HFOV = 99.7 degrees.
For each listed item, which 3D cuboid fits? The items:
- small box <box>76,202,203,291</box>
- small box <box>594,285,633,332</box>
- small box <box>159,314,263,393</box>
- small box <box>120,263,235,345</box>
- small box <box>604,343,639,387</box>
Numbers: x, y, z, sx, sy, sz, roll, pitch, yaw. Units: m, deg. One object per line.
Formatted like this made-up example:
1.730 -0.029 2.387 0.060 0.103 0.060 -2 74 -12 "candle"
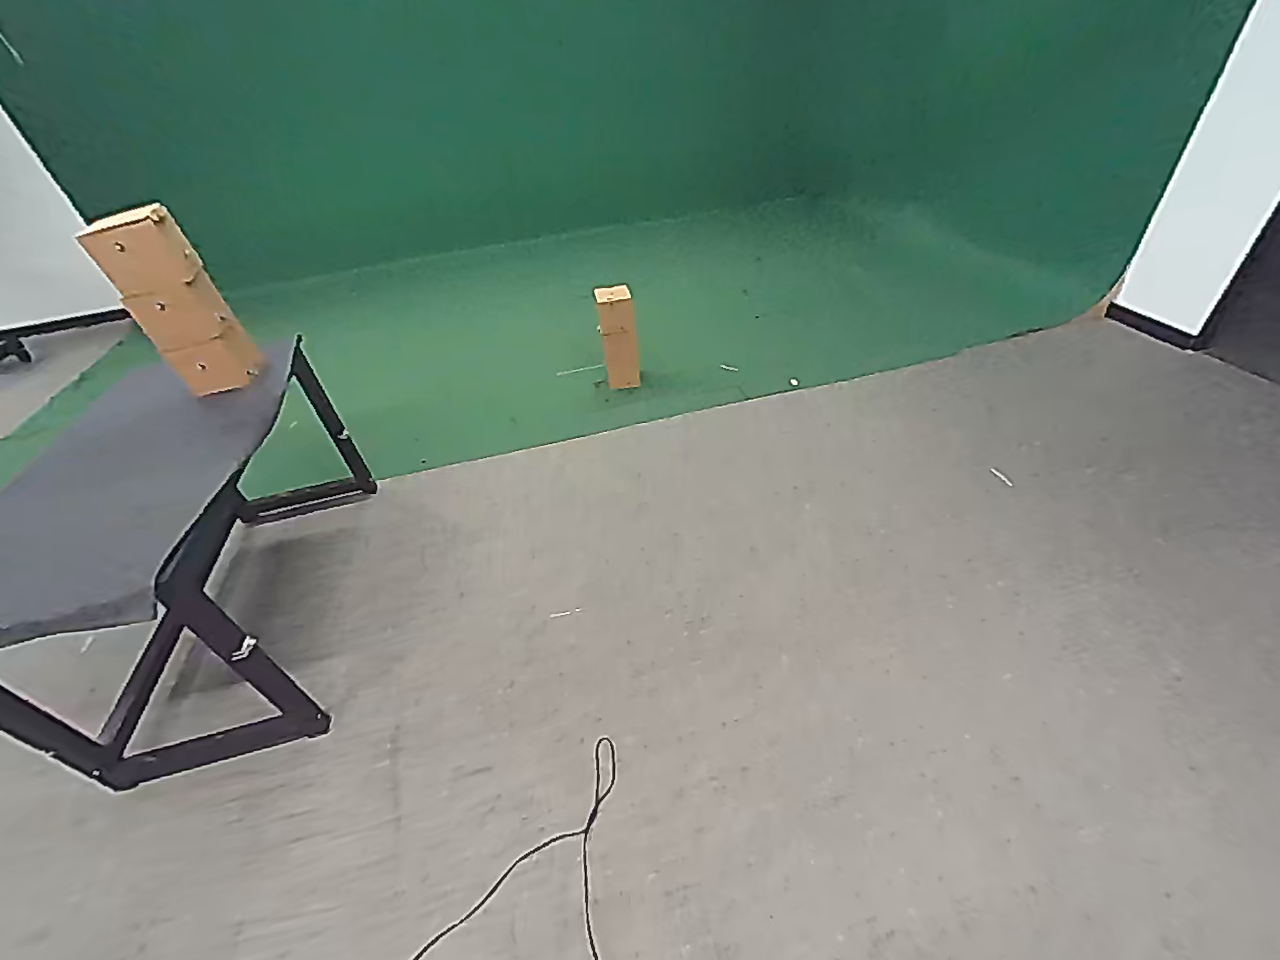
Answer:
-1.381 -0.647 1.505 0.179 0.176 0.168 -19 45 -10 "small box"
-0.132 -0.854 2.692 0.168 0.176 0.179 -10 40 -5 "small box"
-1.353 -0.402 1.721 0.179 0.176 0.168 -15 42 -5 "small box"
-1.368 -0.522 1.613 0.179 0.176 0.168 -16 43 -9 "small box"
-0.100 -0.615 2.916 0.168 0.176 0.179 -8 41 -1 "small box"
